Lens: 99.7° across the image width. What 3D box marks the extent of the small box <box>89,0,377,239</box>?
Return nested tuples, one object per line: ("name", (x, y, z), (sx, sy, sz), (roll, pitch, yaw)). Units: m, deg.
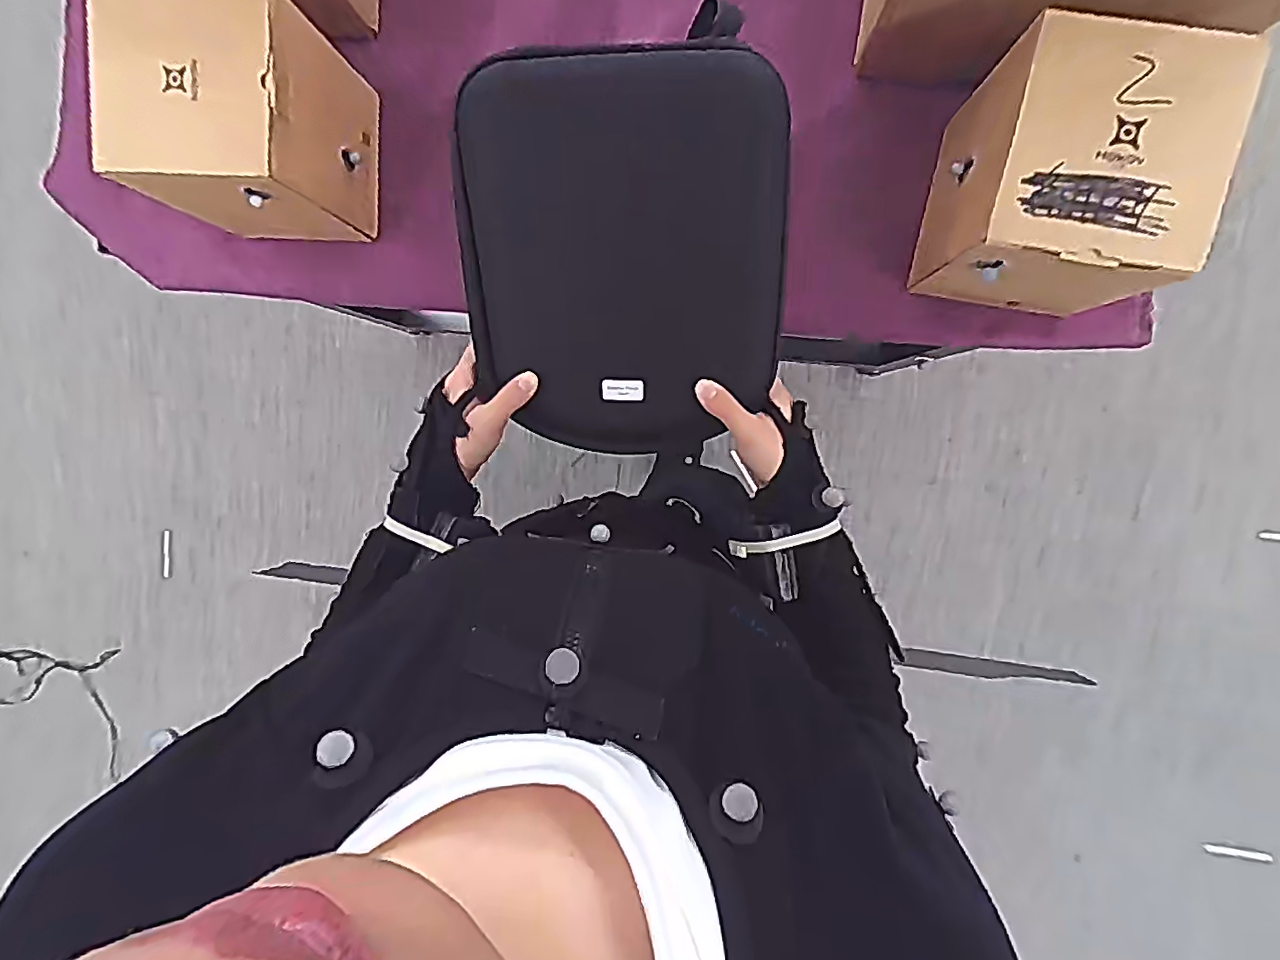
("small box", (-0.404, -0.363, 0.562), (0.179, 0.176, 0.168), (3, 95, 4))
